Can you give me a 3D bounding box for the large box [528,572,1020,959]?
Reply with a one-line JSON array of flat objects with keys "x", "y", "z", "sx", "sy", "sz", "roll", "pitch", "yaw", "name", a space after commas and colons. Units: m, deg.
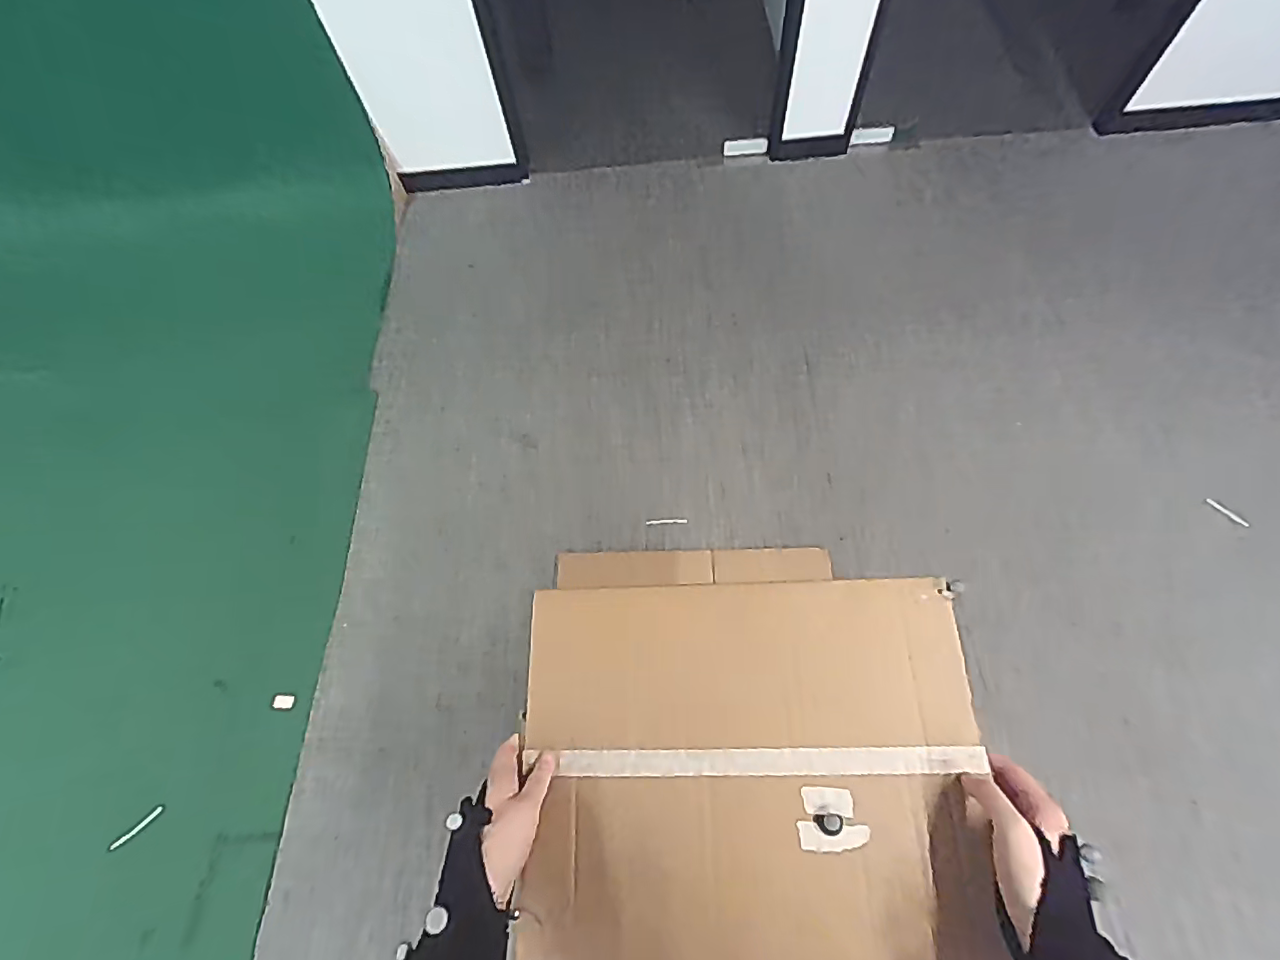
[{"x": 0.110, "y": 0.298, "z": 0.627, "sx": 0.408, "sy": 0.320, "sz": 0.320, "roll": -3, "pitch": 69, "yaw": 5, "name": "large box"}]
